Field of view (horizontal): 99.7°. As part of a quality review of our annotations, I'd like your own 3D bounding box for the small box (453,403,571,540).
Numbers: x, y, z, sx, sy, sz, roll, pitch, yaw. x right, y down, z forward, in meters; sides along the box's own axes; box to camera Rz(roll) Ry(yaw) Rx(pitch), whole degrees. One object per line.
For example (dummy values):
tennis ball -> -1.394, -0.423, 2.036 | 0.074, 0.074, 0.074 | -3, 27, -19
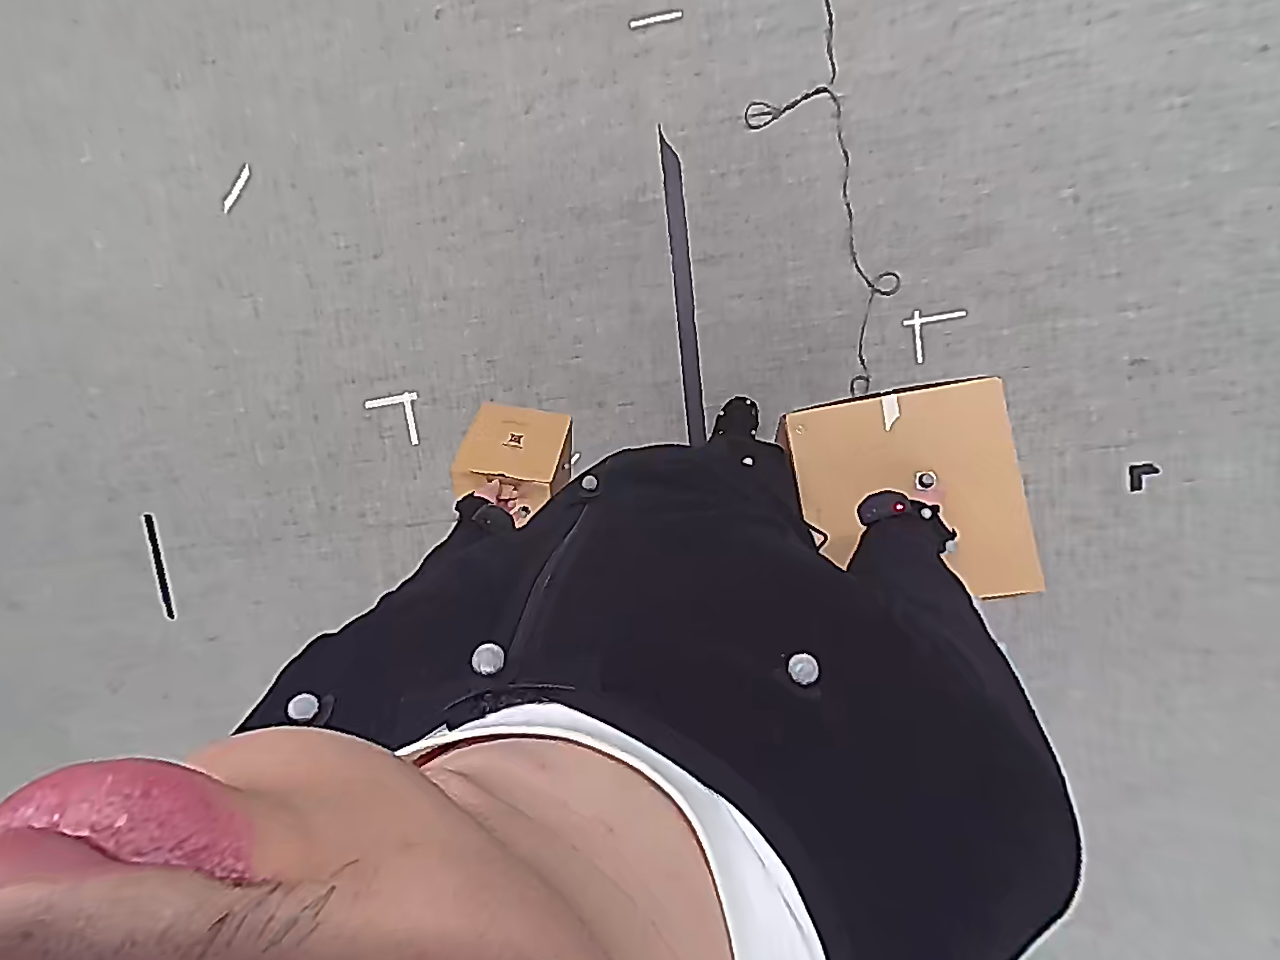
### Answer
small box -> -0.225, -0.013, 0.994 | 0.168, 0.179, 0.176 | 9, 136, -1
